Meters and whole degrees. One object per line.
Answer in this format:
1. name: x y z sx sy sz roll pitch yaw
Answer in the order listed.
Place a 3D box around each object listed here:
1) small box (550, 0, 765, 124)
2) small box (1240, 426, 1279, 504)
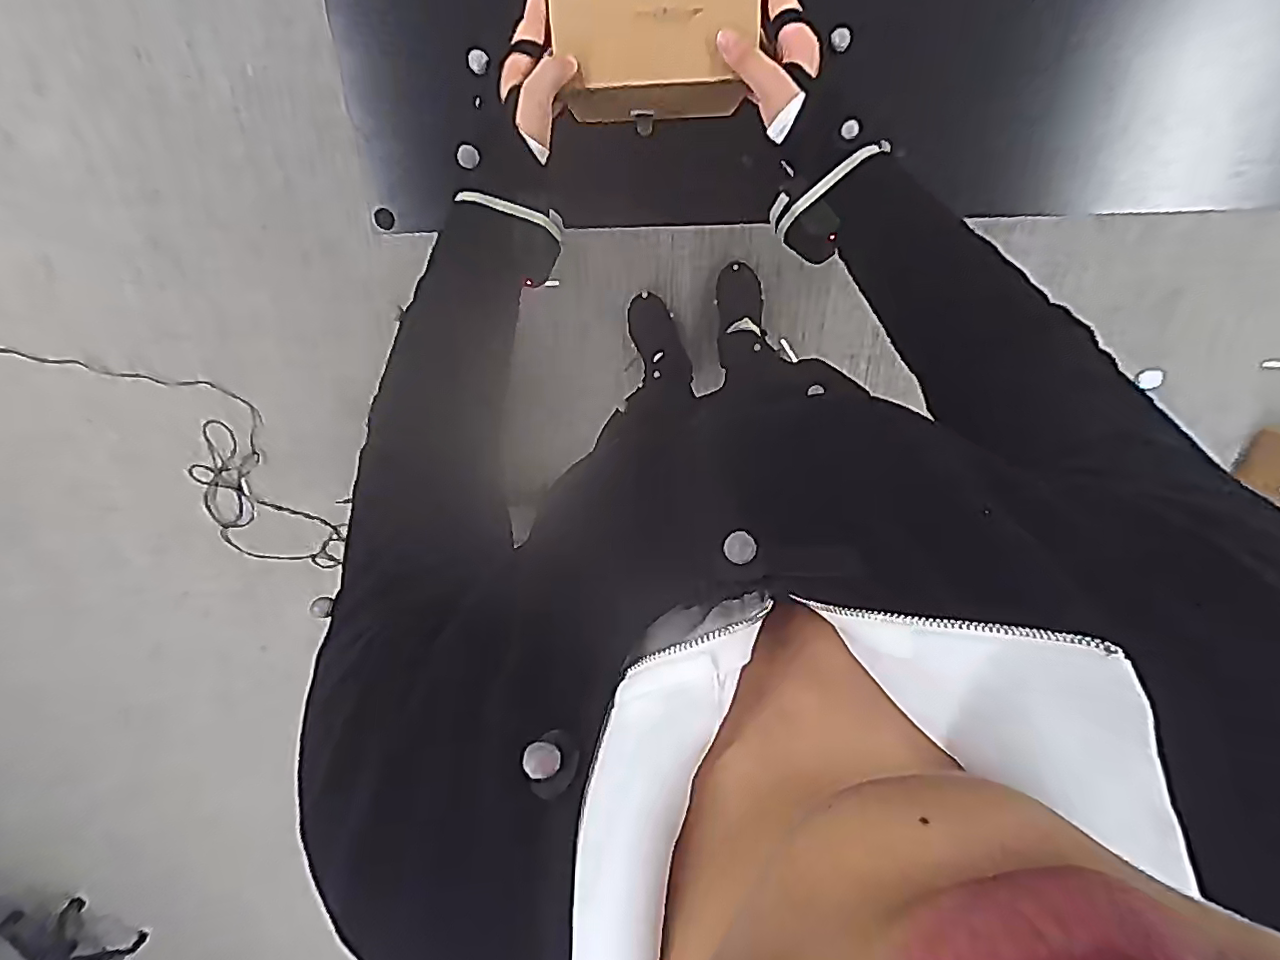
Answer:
1. small box: 0.013 -0.428 0.466 0.168 0.176 0.179 -2 116 3
2. small box: 1.755 -0.030 1.414 0.168 0.176 0.179 1 115 1
